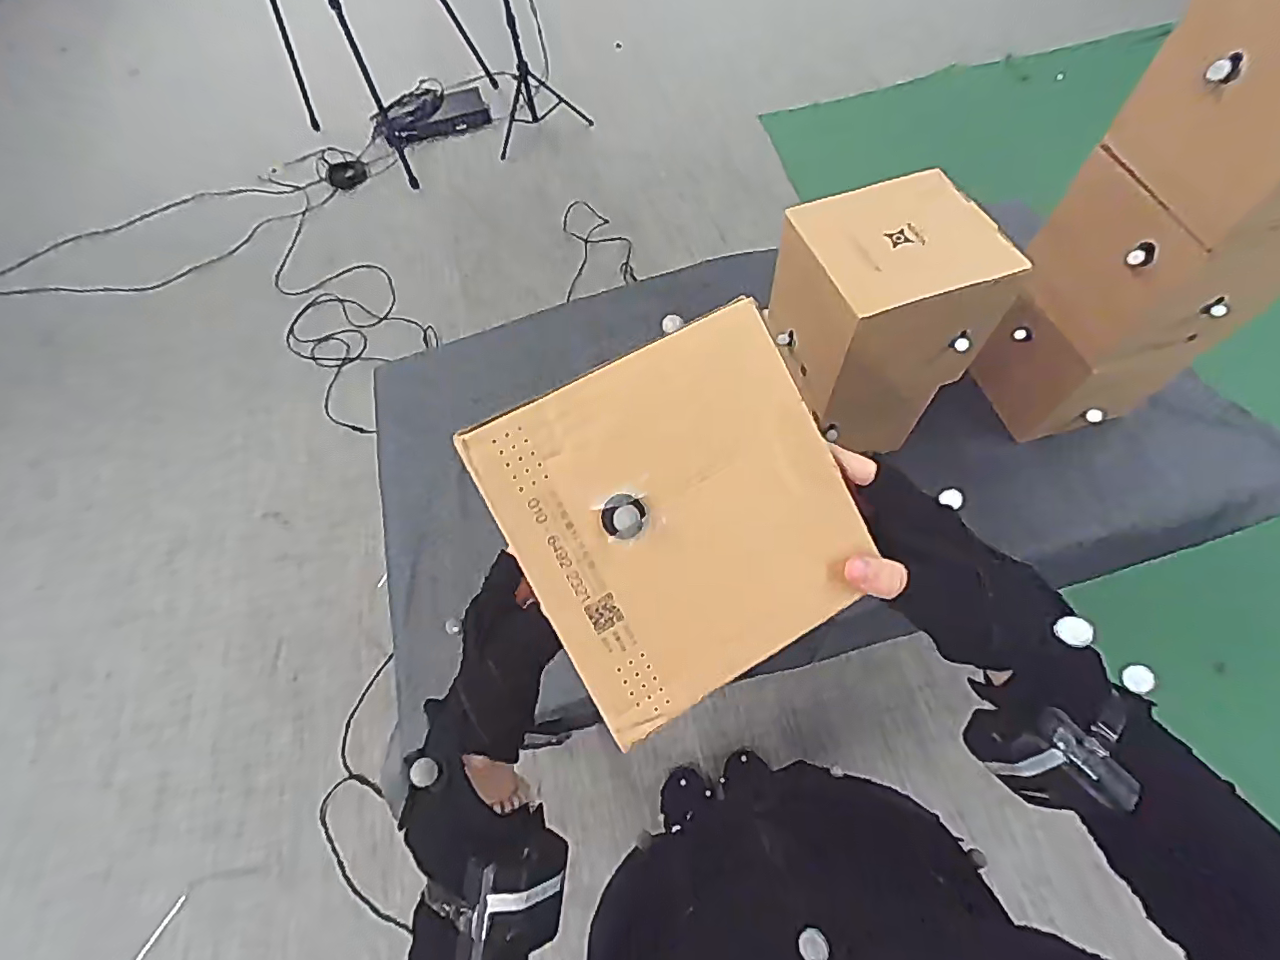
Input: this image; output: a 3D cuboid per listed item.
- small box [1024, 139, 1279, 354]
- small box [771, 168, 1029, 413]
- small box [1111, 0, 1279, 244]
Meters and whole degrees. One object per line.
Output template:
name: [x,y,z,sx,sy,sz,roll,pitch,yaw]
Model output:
small box: [0.579,-0.260,0.598,0.168,0.176,0.179,-13,62,-1]
small box: [0.264,-0.201,0.601,0.179,0.176,0.168,-17,62,-3]
small box: [0.564,-0.333,0.452,0.168,0.176,0.179,-11,62,1]
